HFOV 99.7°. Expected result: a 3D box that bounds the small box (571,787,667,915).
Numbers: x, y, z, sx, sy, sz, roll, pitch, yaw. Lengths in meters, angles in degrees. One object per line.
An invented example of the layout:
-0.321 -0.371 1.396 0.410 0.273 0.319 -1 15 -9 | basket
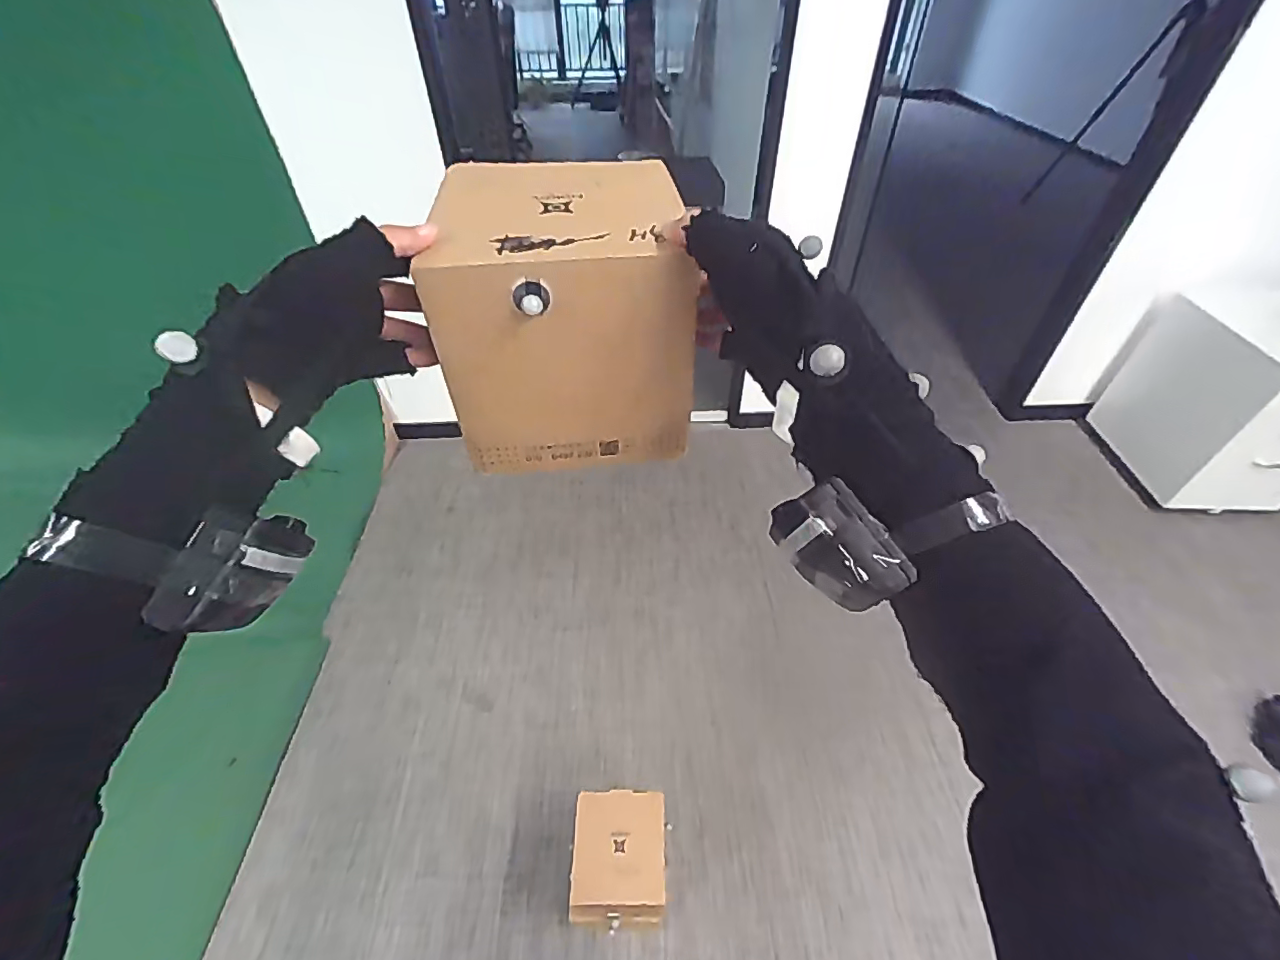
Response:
-0.035 0.711 1.035 0.168 0.176 0.179 -2 45 1 | small box

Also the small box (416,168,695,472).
-0.055 -0.128 0.429 0.168 0.176 0.179 -5 45 -3 | small box

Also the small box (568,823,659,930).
-0.048 0.832 1.141 0.179 0.176 0.168 -1 44 1 | small box
